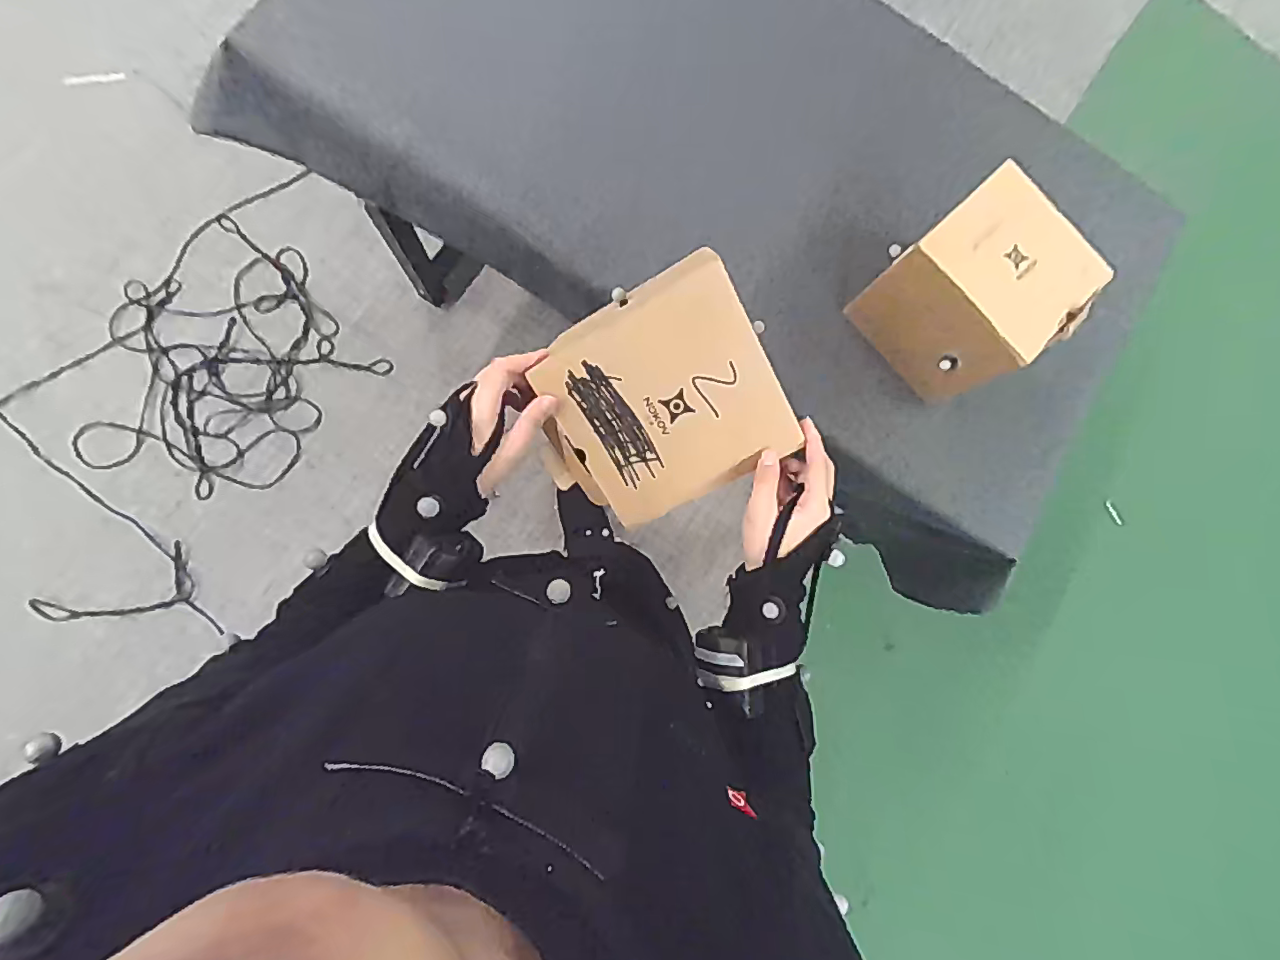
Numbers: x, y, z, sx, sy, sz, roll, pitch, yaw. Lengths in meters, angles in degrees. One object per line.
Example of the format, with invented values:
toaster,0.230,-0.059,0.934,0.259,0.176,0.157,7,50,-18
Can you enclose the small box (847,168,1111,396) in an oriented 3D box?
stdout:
small box,0.399,-0.224,0.666,0.168,0.176,0.179,-43,89,-11
